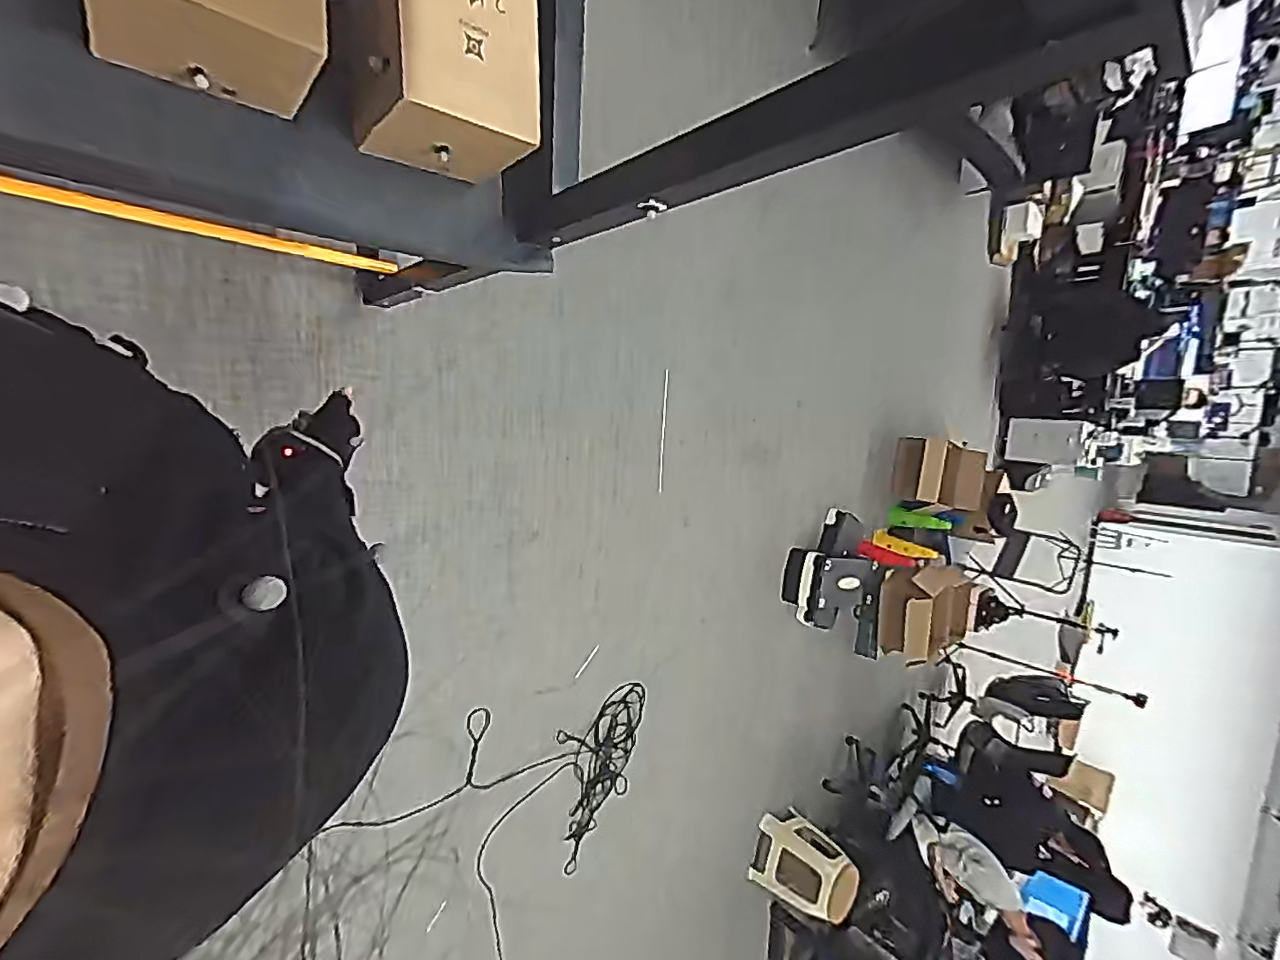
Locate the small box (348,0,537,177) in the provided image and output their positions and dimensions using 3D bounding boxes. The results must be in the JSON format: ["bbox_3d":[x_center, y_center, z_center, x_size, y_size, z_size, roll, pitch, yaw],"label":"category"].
[{"bbox_3d":[-0.241,-0.499,0.659,0.168,0.176,0.179,-8,102,-42],"label":"small box"}]
